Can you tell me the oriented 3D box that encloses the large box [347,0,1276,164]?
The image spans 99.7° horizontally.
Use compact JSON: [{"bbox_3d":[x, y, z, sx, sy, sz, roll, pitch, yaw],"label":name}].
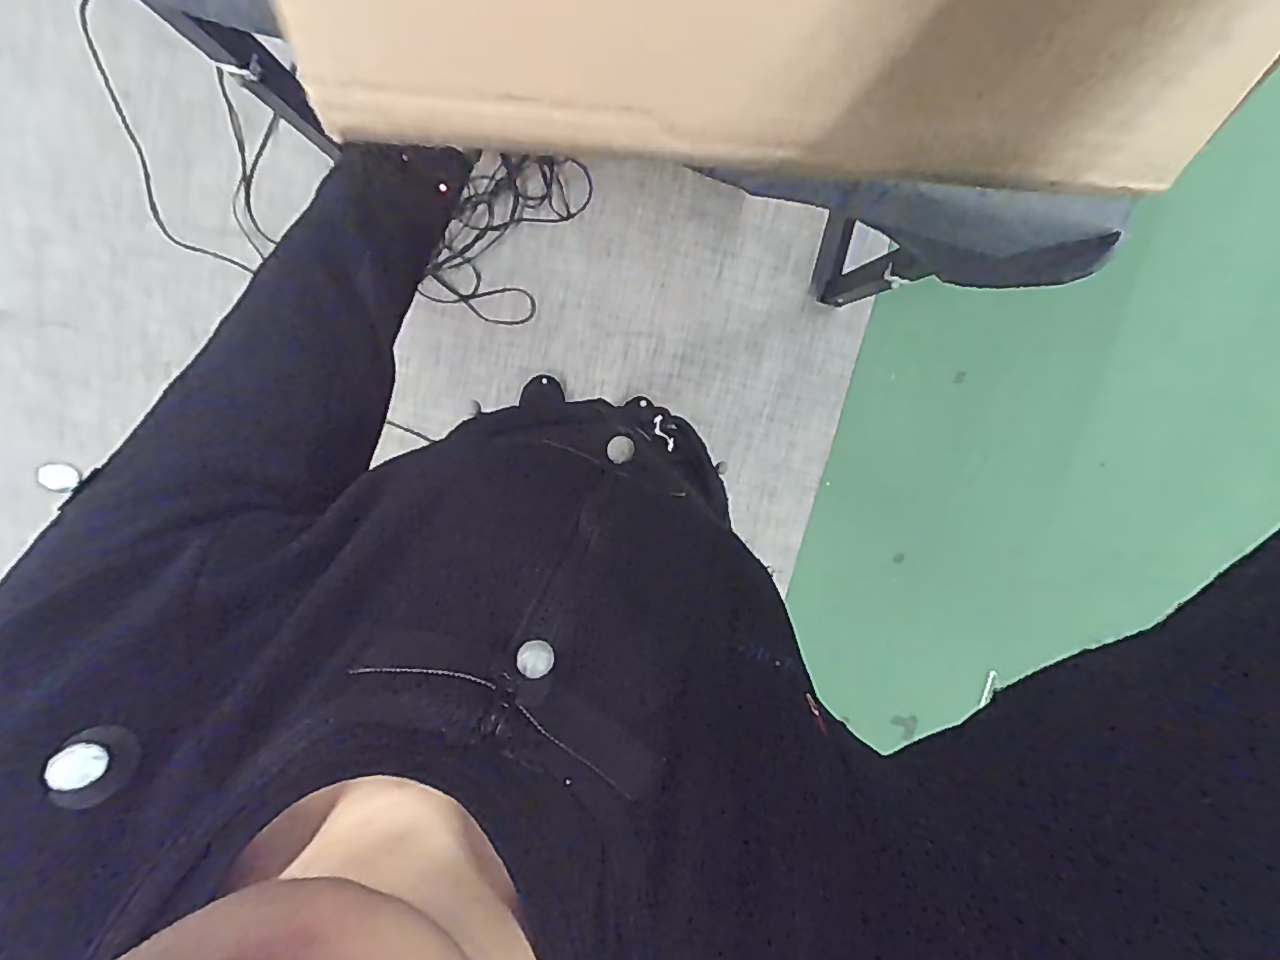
[{"bbox_3d":[0.048,-0.370,0.196,0.320,0.408,0.320,-1,144,-7],"label":"large box"}]
